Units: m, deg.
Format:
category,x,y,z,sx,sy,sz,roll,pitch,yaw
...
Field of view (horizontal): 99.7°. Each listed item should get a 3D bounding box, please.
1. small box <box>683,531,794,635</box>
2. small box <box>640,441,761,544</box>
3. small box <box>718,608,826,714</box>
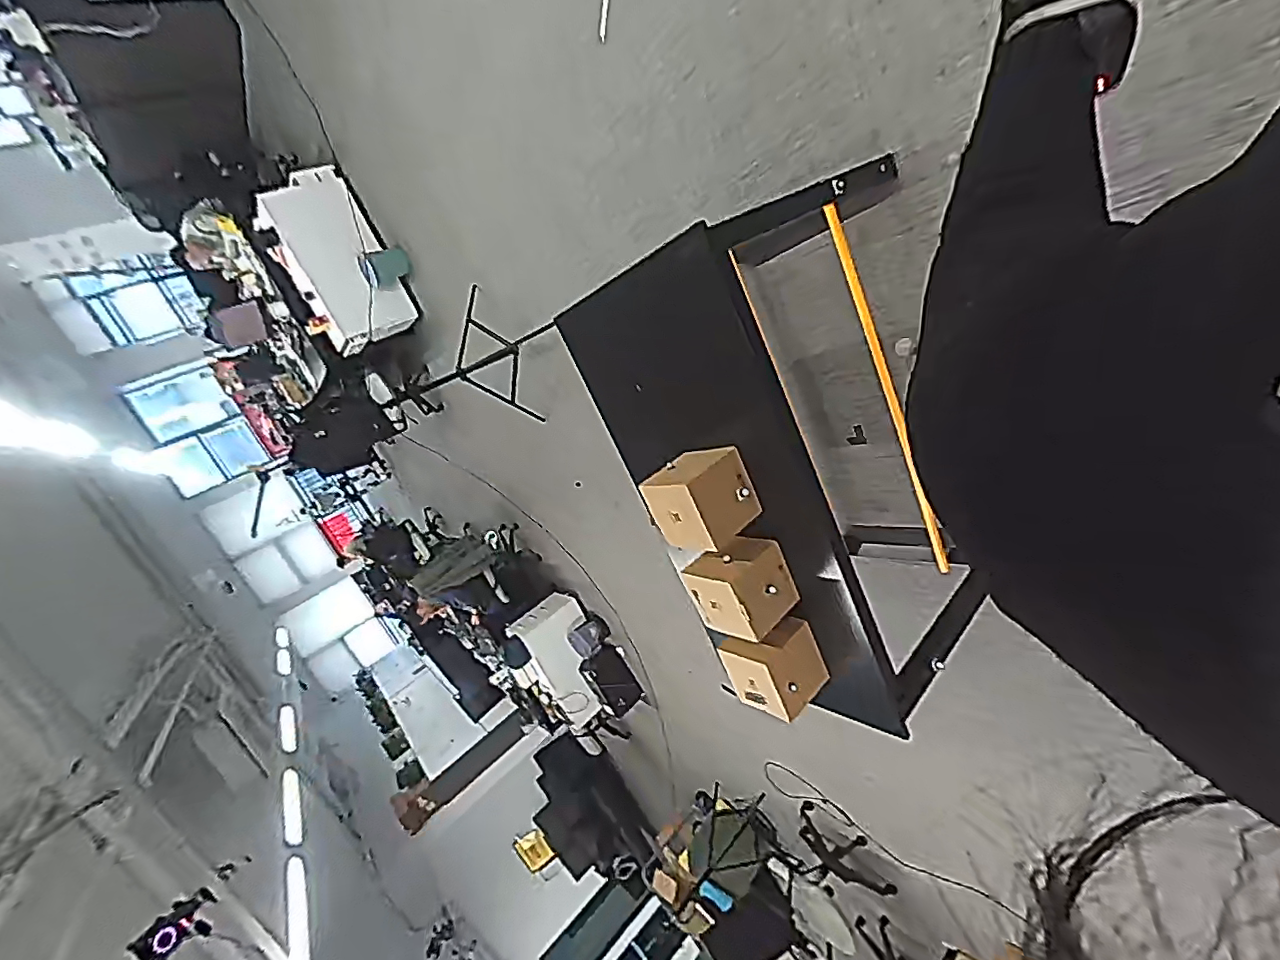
category,x,y,z,sx,sy,sz,roll,pitch,yaw
small box,0.239,0.234,1.277,0.179,0.176,0.168,-2,117,56
small box,0.138,0.026,1.218,0.179,0.176,0.168,-4,118,56
small box,0.332,0.436,1.345,0.168,0.176,0.179,-2,117,56
